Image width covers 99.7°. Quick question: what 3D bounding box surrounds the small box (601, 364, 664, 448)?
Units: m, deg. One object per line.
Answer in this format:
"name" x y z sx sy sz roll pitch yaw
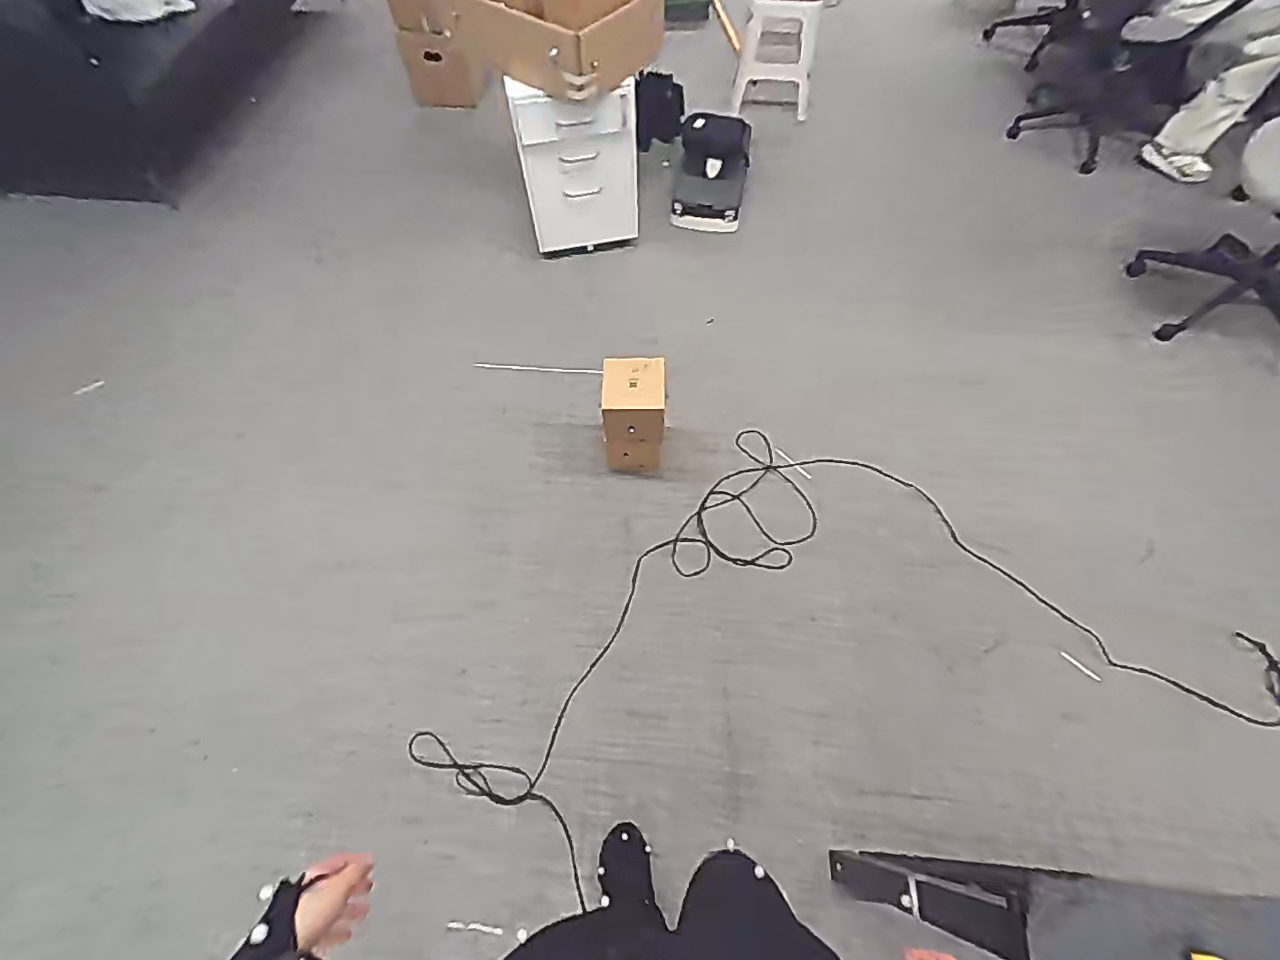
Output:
"small box" -0.016 -0.201 1.508 0.168 0.176 0.179 0 59 1

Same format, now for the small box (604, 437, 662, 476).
"small box" -0.016 -0.125 1.655 0.168 0.176 0.179 1 59 2
